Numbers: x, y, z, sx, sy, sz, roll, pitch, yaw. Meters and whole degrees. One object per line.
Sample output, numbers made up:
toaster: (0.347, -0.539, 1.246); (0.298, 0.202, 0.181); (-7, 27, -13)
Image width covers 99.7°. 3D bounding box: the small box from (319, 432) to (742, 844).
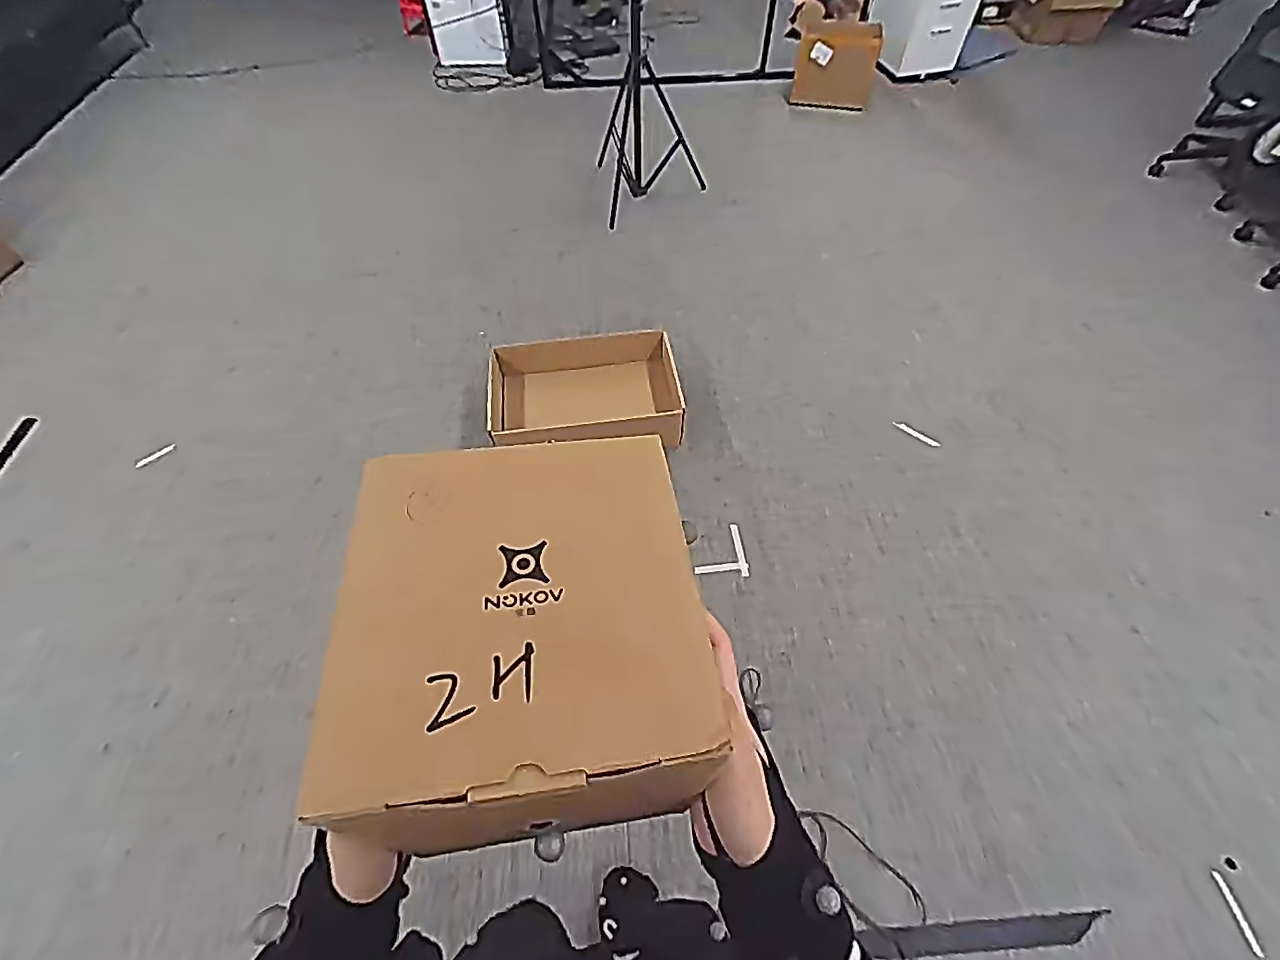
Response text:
small box: (-0.055, 0.094, 0.322); (0.168, 0.176, 0.179); (-5, 52, -8)
